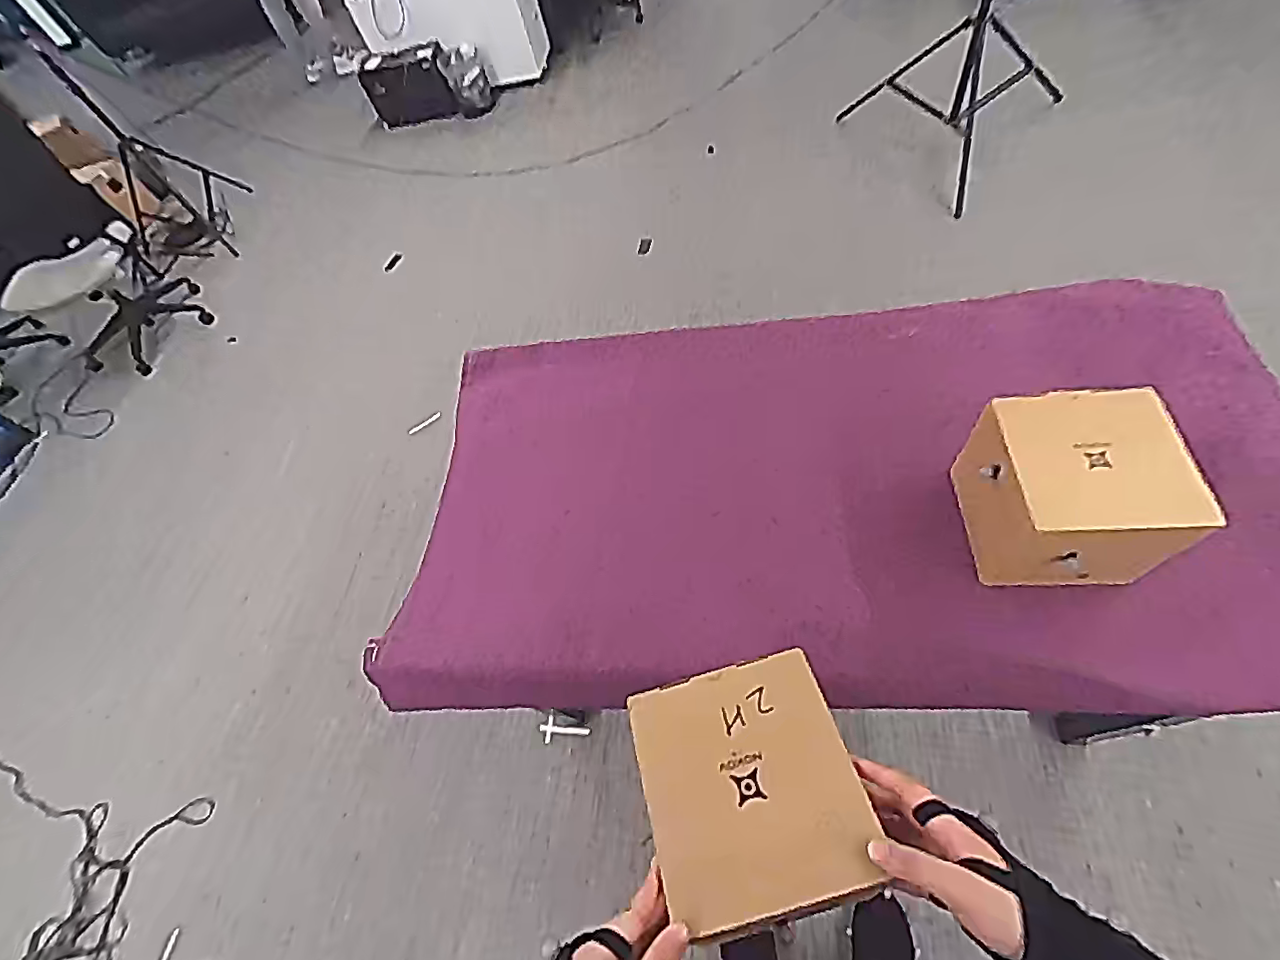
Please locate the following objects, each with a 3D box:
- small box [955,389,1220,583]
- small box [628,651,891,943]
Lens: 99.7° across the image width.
[{"bbox_3d":[0.504,0.017,0.646,0.168,0.176,0.179,-3,58,12],"label":"small box"},{"bbox_3d":[0.098,0.290,0.492,0.168,0.176,0.179,-16,46,-1],"label":"small box"}]
